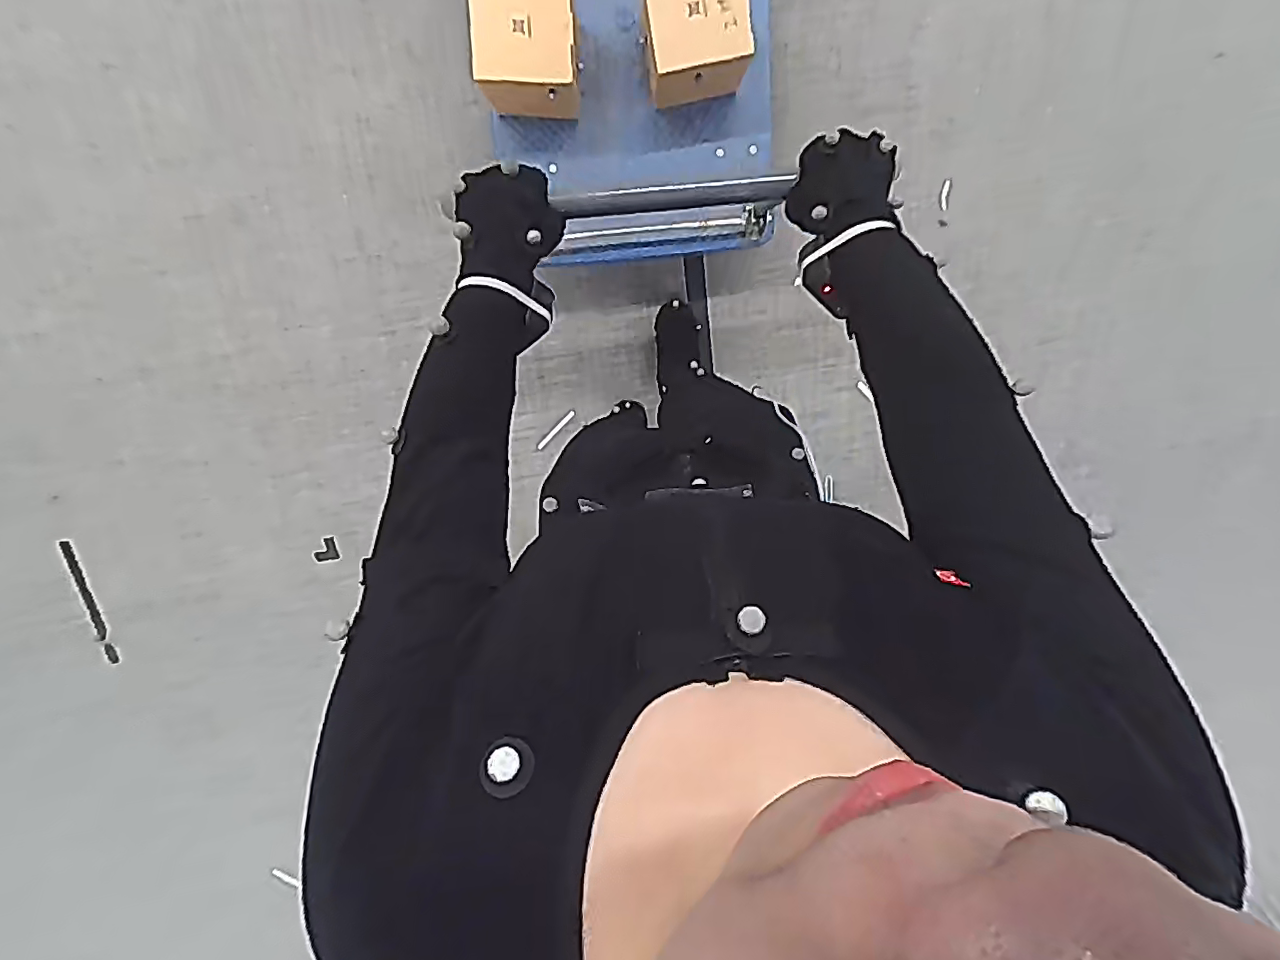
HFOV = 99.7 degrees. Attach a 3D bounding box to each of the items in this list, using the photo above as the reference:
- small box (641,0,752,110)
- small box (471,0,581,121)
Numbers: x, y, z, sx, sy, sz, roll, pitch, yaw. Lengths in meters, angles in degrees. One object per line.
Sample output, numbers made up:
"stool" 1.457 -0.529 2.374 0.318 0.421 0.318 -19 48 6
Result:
"small box" 0.098 -0.823 1.008 0.179 0.176 0.168 -11 107 2
"small box" -0.205 -0.793 1.009 0.179 0.176 0.168 0 106 -3
